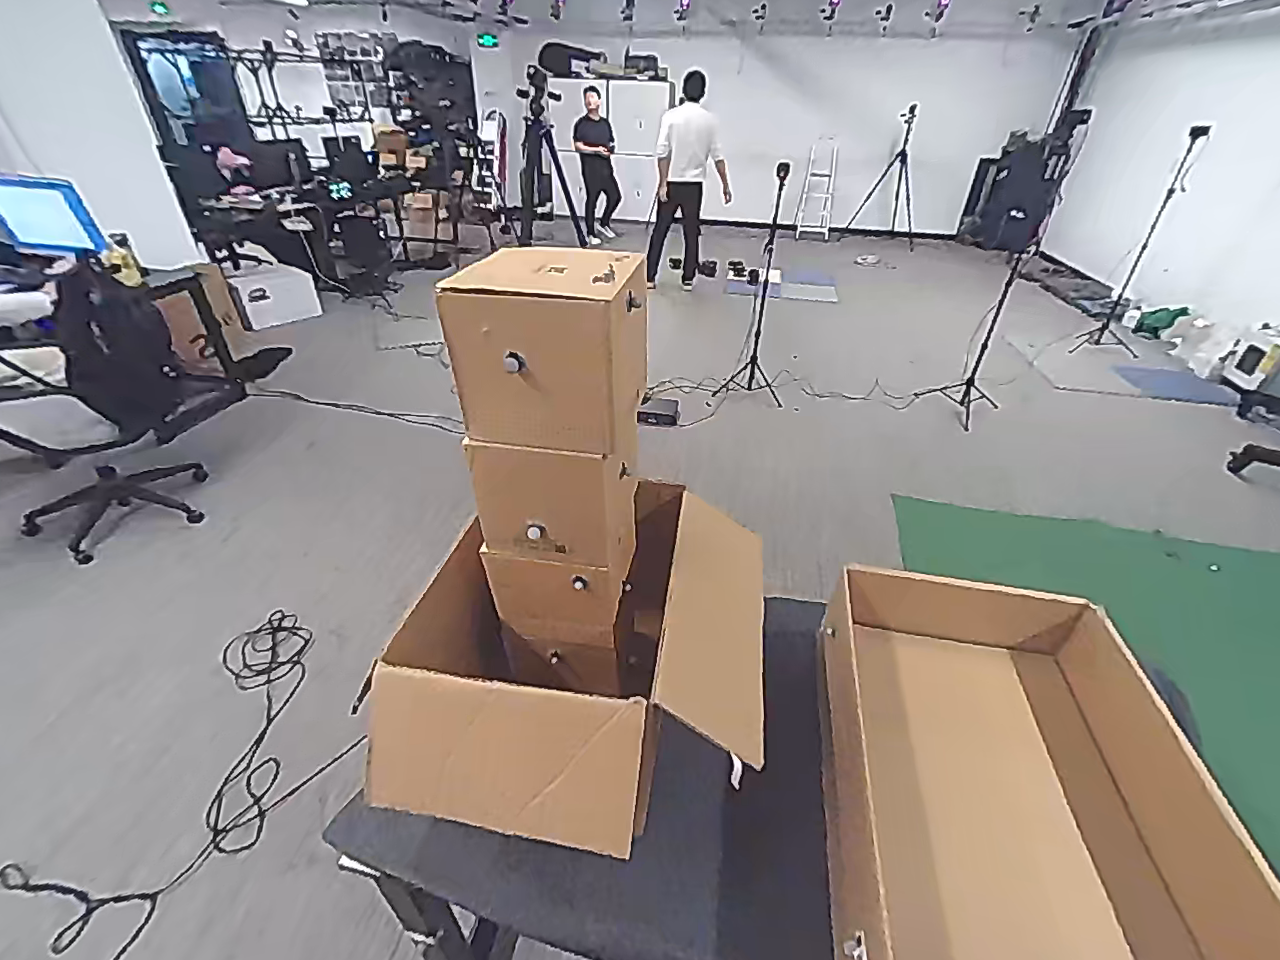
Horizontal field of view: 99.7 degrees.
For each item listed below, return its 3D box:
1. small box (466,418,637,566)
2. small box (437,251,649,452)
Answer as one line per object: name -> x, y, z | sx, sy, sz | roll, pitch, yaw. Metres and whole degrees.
small box -> -0.100, -0.016, 0.703 | 0.168, 0.176, 0.179 | 7, 38, 10
small box -> -0.090, -0.146, 0.603 | 0.179, 0.176, 0.168 | 6, 38, 10
